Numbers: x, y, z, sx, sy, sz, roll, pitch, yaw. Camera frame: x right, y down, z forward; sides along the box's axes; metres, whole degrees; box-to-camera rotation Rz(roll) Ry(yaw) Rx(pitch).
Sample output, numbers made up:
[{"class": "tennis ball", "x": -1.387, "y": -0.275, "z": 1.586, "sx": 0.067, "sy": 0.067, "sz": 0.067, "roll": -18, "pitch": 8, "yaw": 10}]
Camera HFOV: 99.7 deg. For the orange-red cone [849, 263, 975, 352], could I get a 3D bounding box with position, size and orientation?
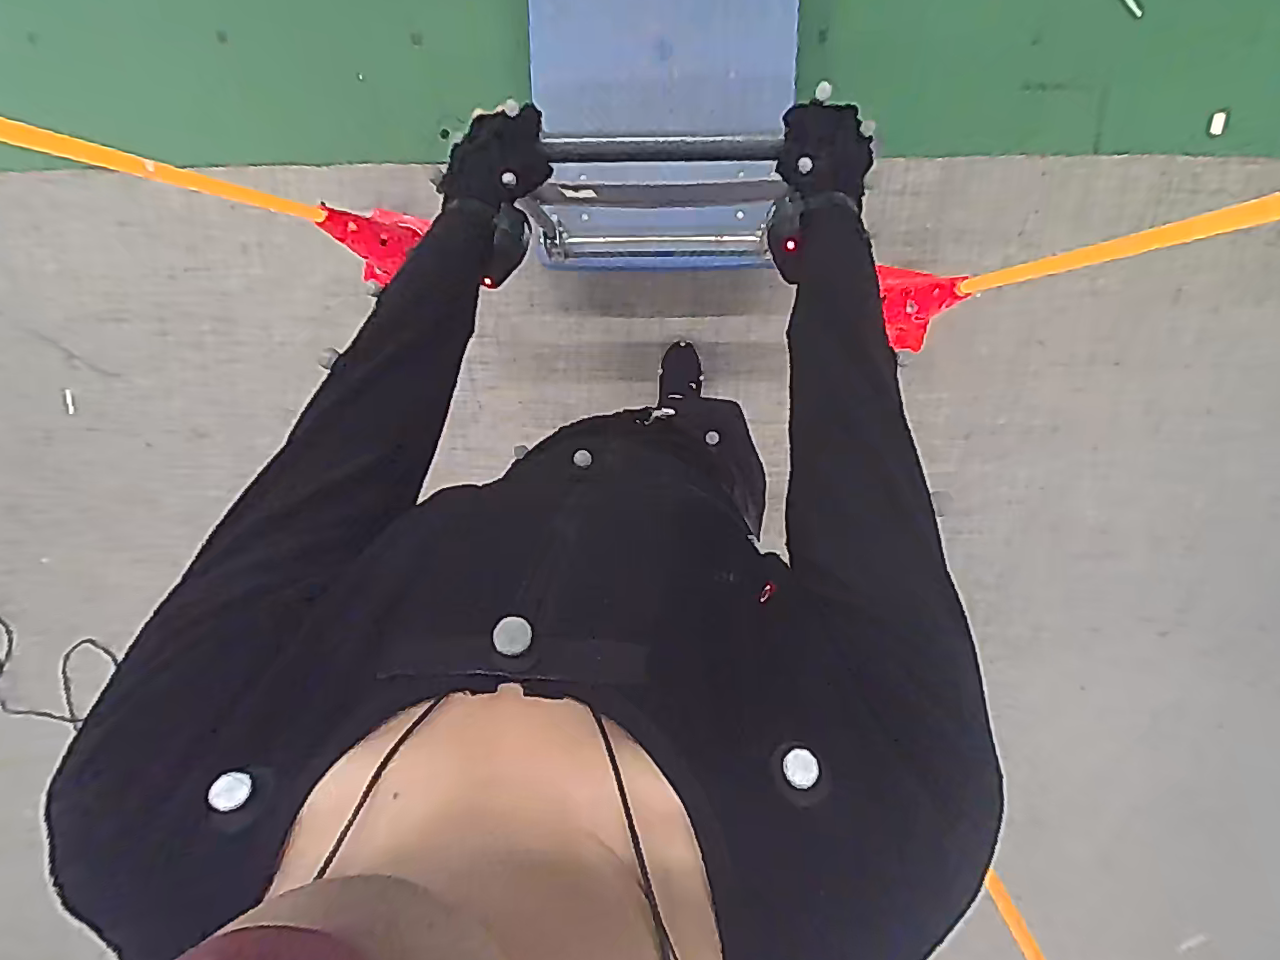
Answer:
[{"class": "orange-red cone", "x": 0.645, "y": -0.411, "z": 1.225, "sx": 0.198, "sy": 0.360, "sz": 0.199, "roll": 12, "pitch": 102, "yaw": 1}]
